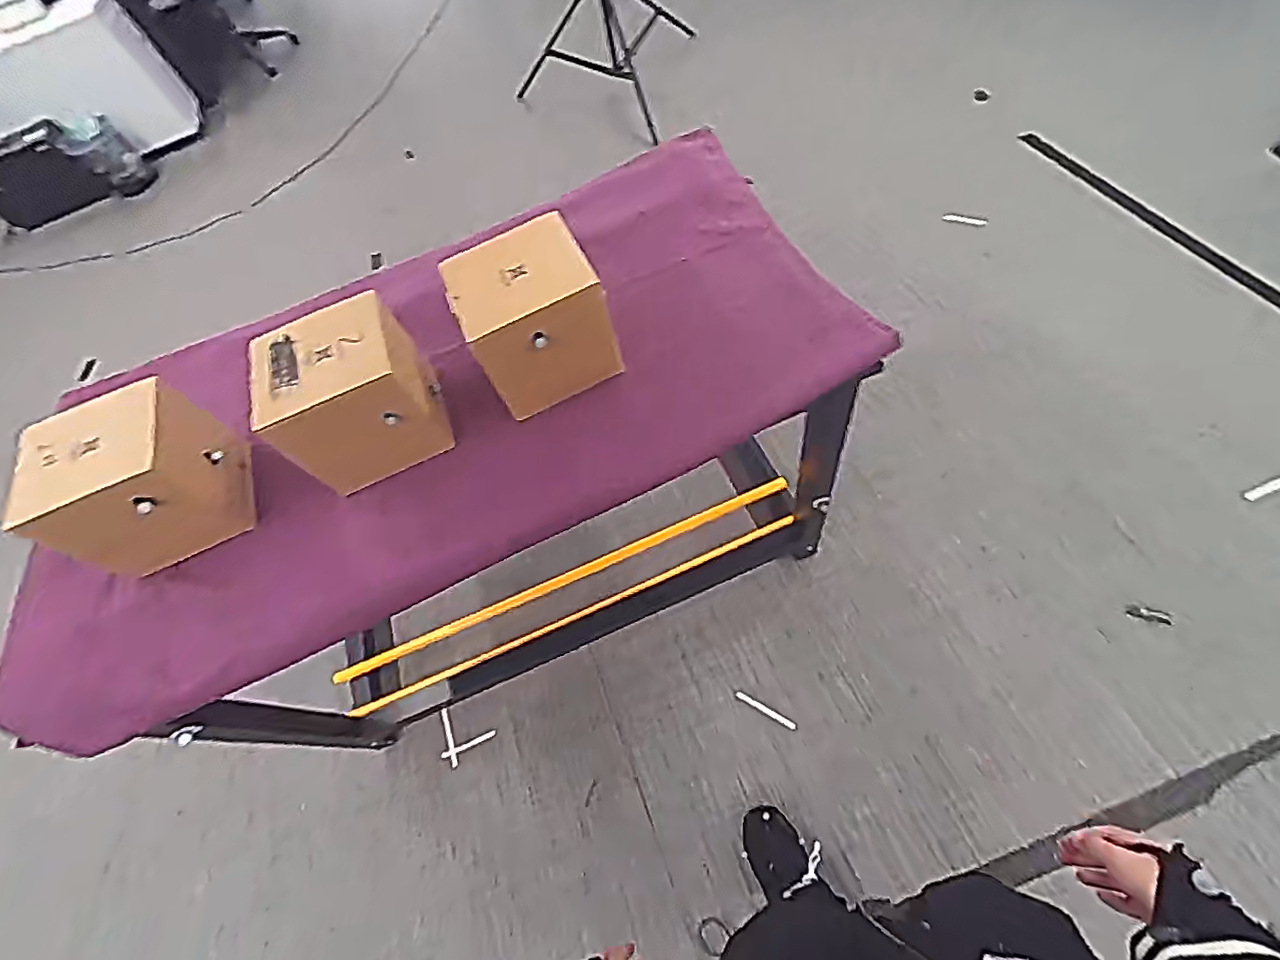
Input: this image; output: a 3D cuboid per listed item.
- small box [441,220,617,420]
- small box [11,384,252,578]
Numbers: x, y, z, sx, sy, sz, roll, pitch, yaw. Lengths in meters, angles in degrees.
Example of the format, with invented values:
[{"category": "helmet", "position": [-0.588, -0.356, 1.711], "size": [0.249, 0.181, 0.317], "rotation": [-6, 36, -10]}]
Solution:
[{"category": "small box", "position": [-0.144, -0.217, 0.758], "size": [0.179, 0.176, 0.168], "rotation": [-26, 60, -2]}, {"category": "small box", "position": [-0.667, 0.007, 0.738], "size": [0.179, 0.176, 0.168], "rotation": [-25, 59, -5]}]
